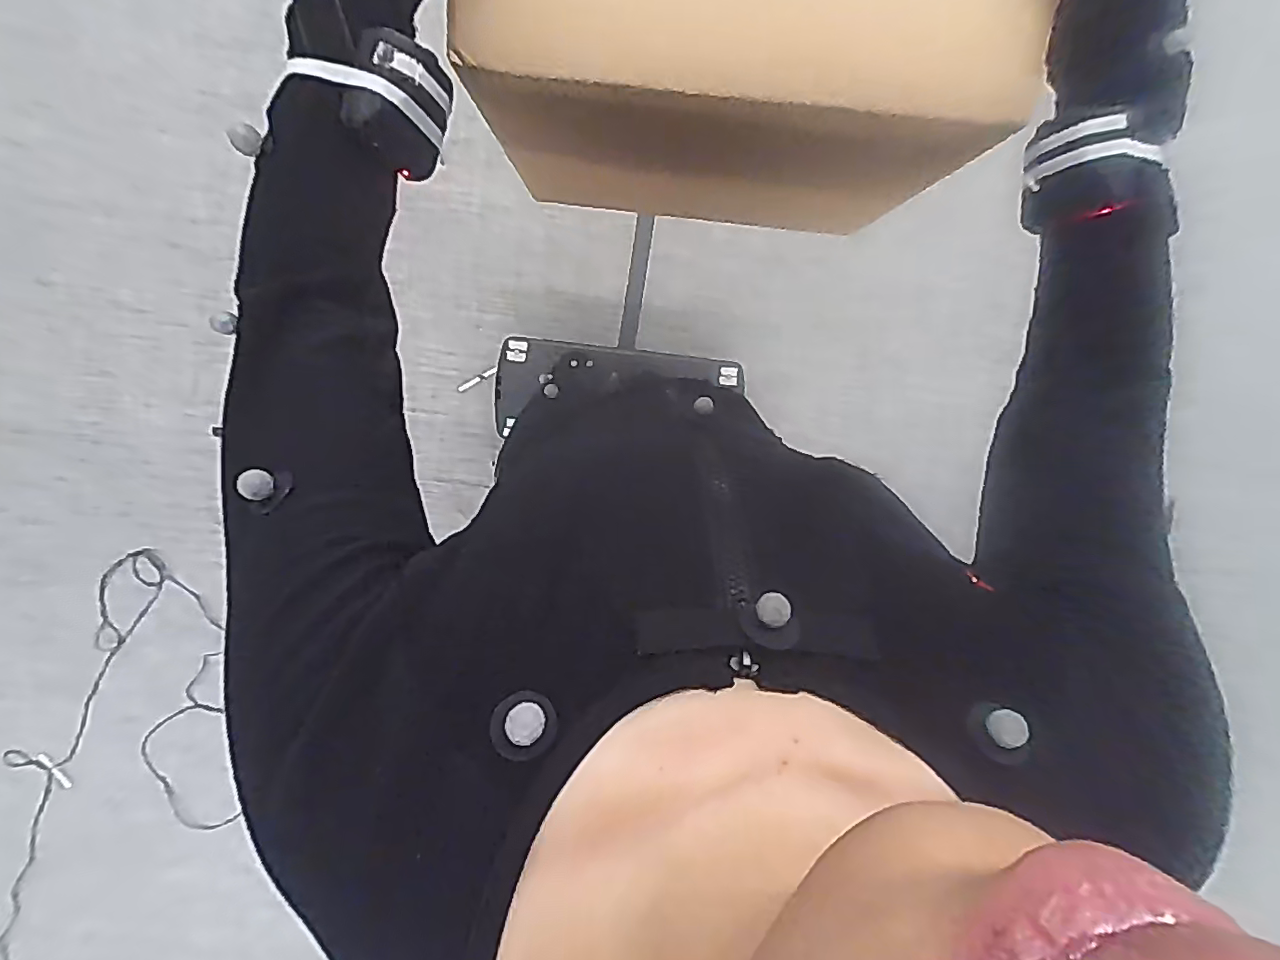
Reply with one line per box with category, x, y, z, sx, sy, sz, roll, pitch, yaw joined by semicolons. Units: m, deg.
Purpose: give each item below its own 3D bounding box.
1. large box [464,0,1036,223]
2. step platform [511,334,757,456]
large box;0.080;-0.453;0.500;0.408;0.320;0.320;5;102;-2
step platform;-0.019;-0.238;1.537;0.684;0.204;0.286;5;99;-4
